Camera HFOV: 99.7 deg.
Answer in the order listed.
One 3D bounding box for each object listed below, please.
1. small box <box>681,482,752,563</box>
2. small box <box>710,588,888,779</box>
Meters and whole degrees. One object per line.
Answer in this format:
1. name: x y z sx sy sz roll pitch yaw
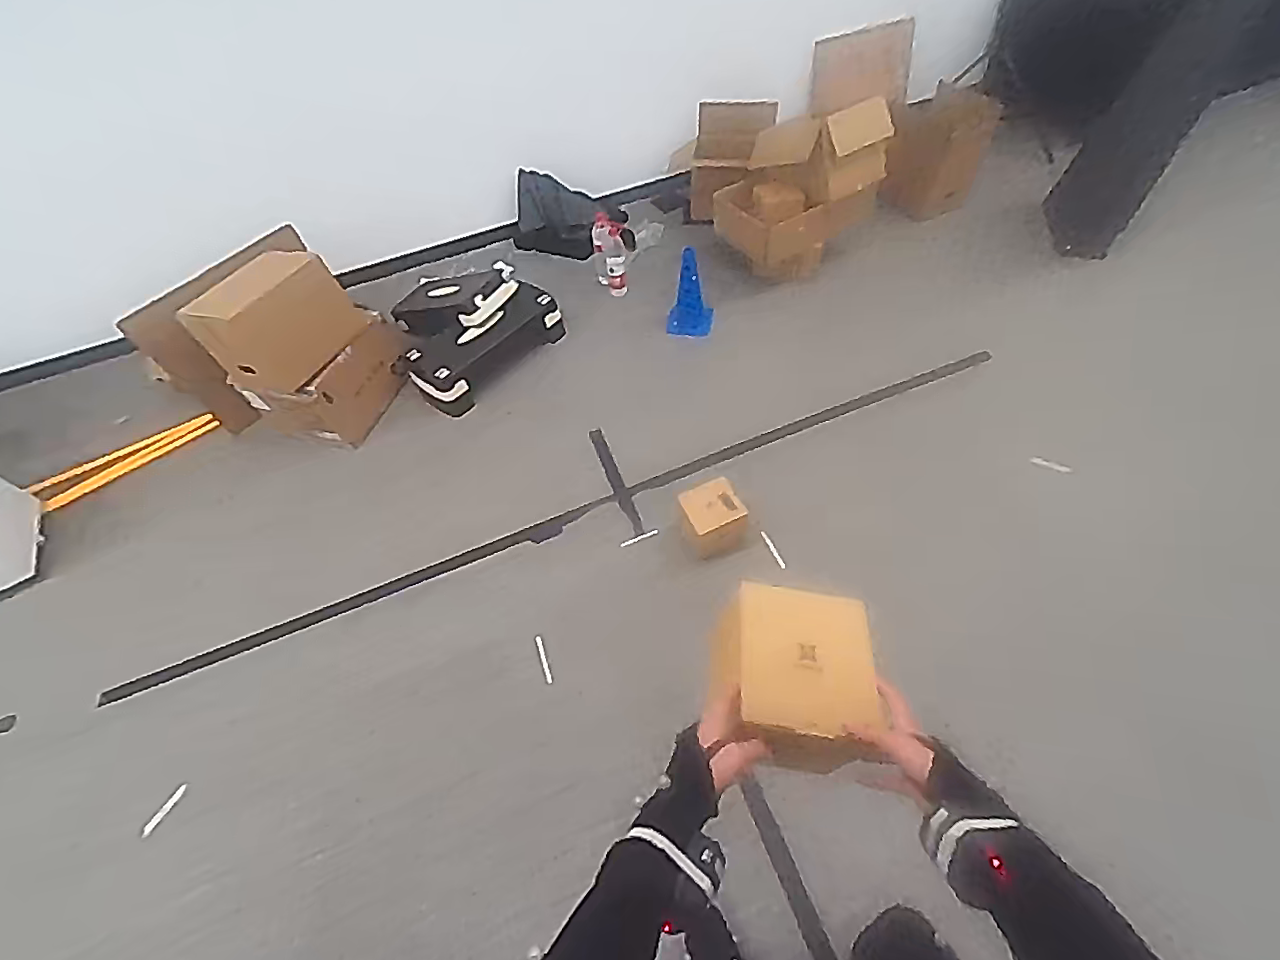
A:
1. small box: 0.244 0.142 1.759 0.179 0.176 0.168 -23 55 -9
2. small box: 0.191 0.268 0.705 0.168 0.176 0.179 10 51 -2
